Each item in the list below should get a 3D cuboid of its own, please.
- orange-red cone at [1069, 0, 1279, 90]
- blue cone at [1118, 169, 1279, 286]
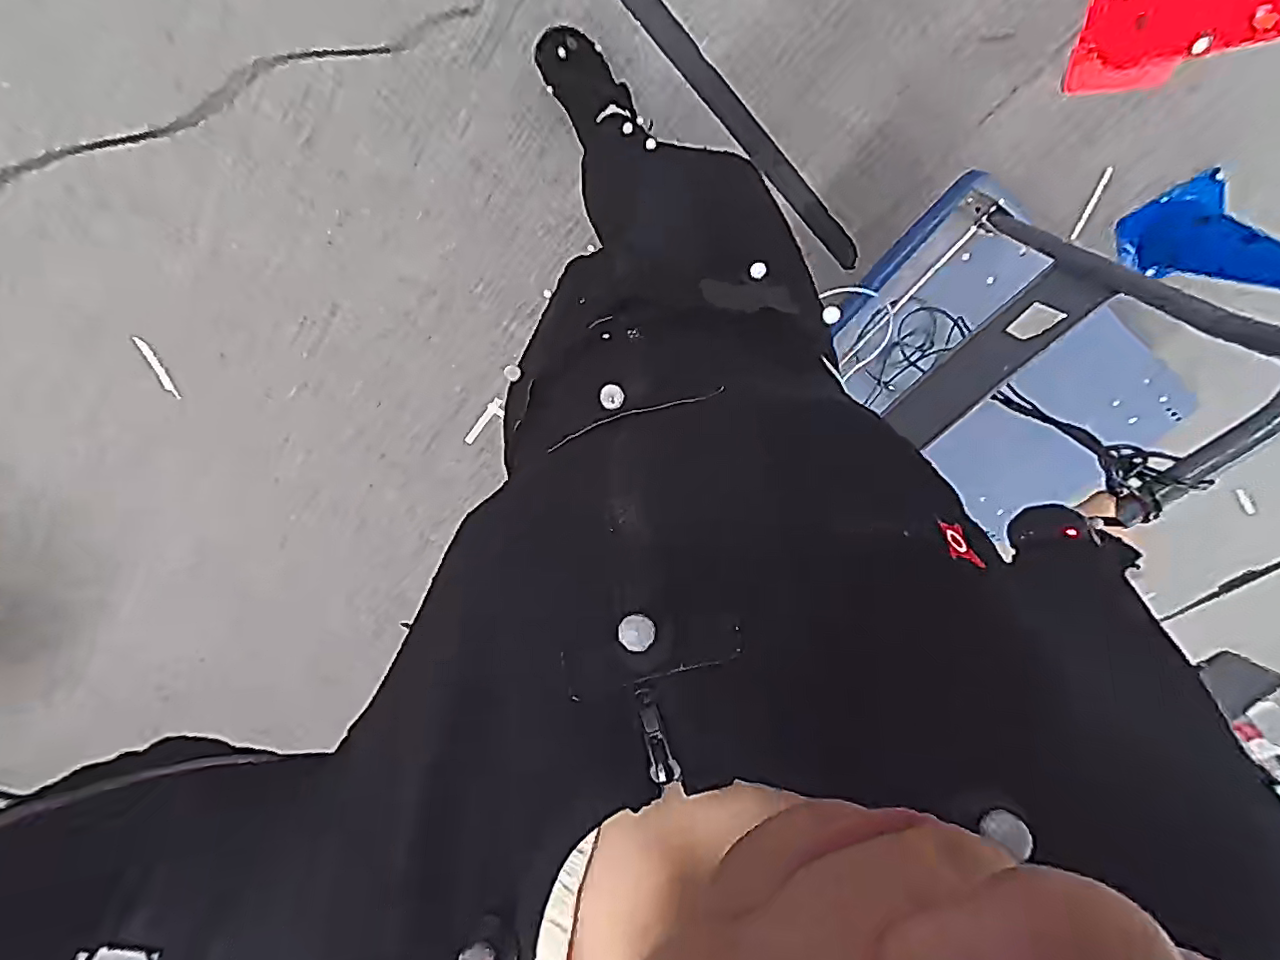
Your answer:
[{"bbox_3d":[0.899,-0.711,0.828,0.198,0.360,0.199,-2,129,1],"label":"orange-red cone"},{"bbox_3d":[1.170,-0.446,1.059,0.193,0.380,0.192,-28,123,18],"label":"blue cone"}]
